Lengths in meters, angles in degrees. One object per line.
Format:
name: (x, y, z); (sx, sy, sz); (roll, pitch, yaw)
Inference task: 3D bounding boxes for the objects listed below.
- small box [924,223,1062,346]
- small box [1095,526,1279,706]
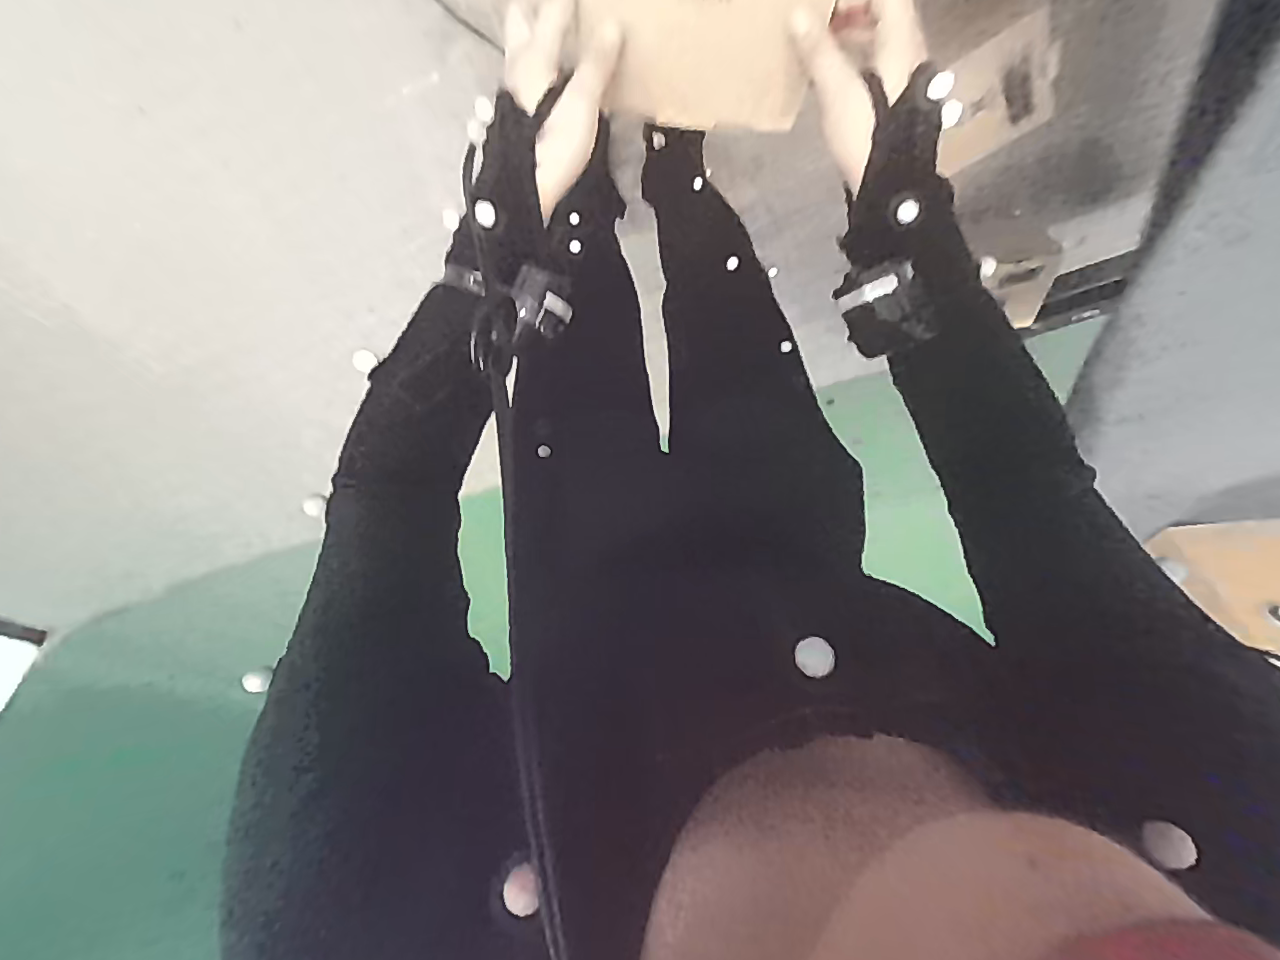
small box: (0.720, -0.412, 1.129); (0.168, 0.176, 0.179); (-7, 144, 8)
small box: (0.753, 0.174, 0.693); (0.179, 0.176, 0.168); (-5, 142, -1)
